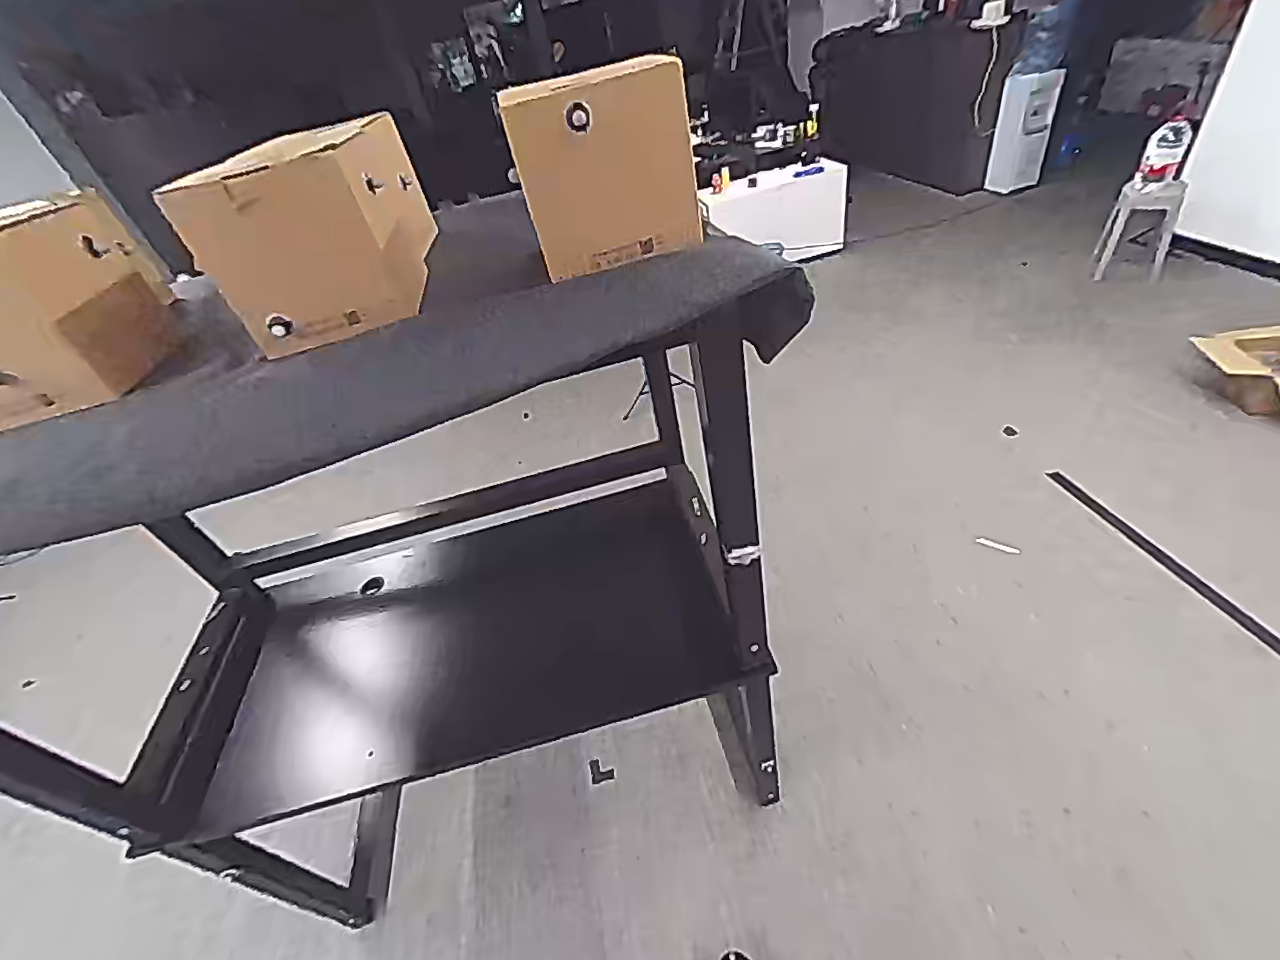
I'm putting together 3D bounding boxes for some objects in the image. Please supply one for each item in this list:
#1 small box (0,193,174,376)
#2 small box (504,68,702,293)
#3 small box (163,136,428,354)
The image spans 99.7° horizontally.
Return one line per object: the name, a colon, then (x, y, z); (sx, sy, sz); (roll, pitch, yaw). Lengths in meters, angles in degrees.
small box: (-0.810, -0.269, 0.744); (0.179, 0.176, 0.168); (-17, 40, -5)
small box: (-0.041, -0.324, 0.587); (0.168, 0.176, 0.179); (-17, 39, -2)
small box: (-0.353, -0.257, 0.601); (0.168, 0.176, 0.179); (-17, 39, -4)
